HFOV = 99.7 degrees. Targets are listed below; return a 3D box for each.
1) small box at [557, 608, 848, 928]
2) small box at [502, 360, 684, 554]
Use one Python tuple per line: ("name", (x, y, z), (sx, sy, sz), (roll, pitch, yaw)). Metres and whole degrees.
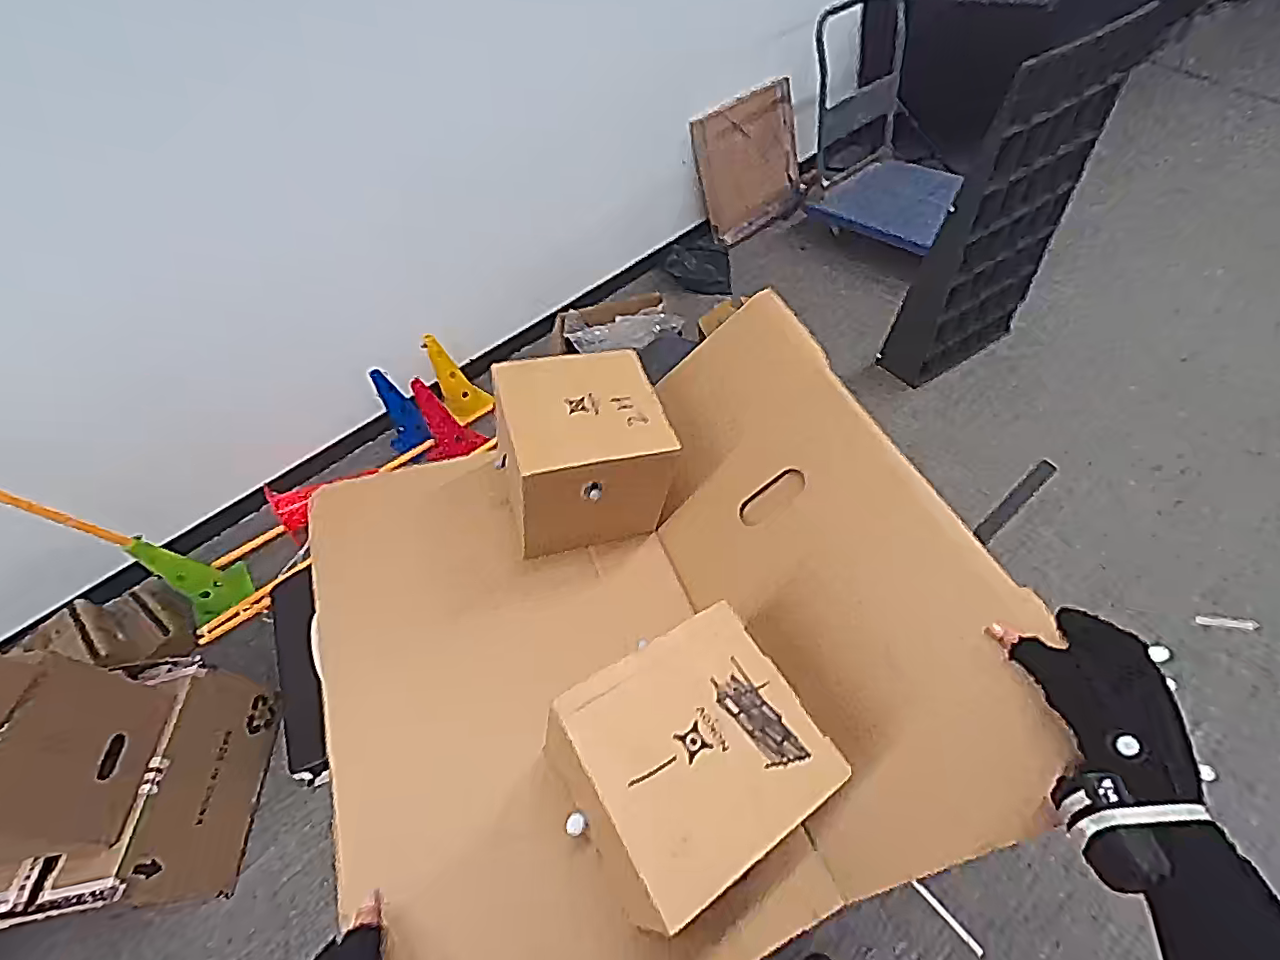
("small box", (0.037, 0.248, 0.482), (0.179, 0.176, 0.168), (-22, 60, -25))
("small box", (-0.067, -0.025, 0.670), (0.179, 0.176, 0.168), (-9, 56, -18))
